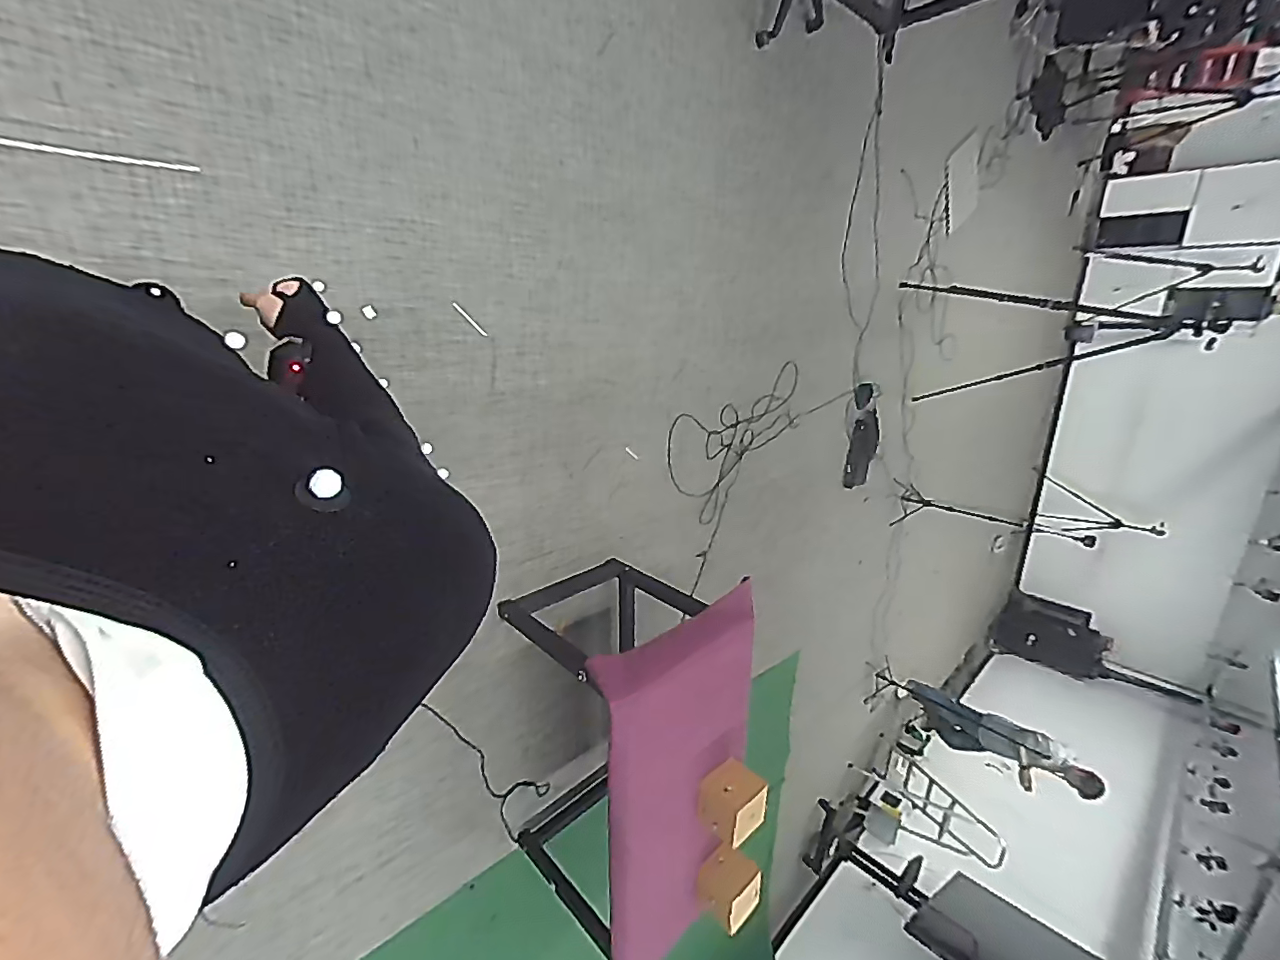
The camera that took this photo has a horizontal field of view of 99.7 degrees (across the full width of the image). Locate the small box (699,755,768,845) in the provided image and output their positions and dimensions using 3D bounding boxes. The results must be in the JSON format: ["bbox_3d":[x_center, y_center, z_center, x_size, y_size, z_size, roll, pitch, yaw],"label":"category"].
[{"bbox_3d":[0.323,1.111,1.892,0.179,0.176,0.168,-12,112,-42],"label":"small box"}]

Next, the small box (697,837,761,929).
[{"bbox_3d":[0.329,1.498,2.021,0.179,0.176,0.168,-15,113,-40],"label":"small box"}]
